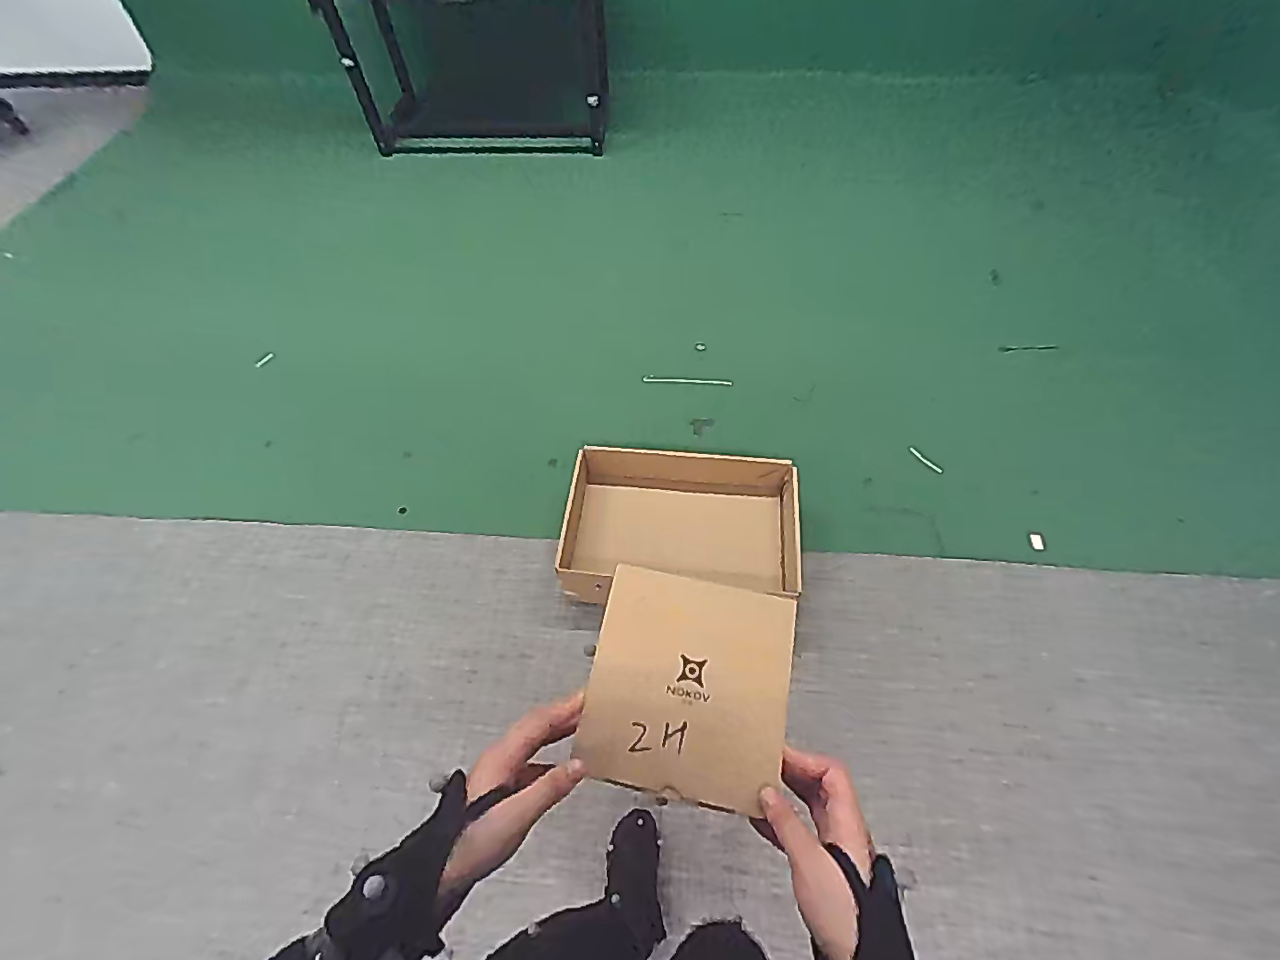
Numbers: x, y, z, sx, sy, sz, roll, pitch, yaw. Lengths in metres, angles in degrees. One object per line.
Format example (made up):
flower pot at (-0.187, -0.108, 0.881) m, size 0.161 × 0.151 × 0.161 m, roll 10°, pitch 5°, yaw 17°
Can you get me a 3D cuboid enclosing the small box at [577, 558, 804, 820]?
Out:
small box at (0.047, 0.196, 0.520) m, size 0.168 × 0.176 × 0.179 m, roll 11°, pitch 66°, yaw 5°
